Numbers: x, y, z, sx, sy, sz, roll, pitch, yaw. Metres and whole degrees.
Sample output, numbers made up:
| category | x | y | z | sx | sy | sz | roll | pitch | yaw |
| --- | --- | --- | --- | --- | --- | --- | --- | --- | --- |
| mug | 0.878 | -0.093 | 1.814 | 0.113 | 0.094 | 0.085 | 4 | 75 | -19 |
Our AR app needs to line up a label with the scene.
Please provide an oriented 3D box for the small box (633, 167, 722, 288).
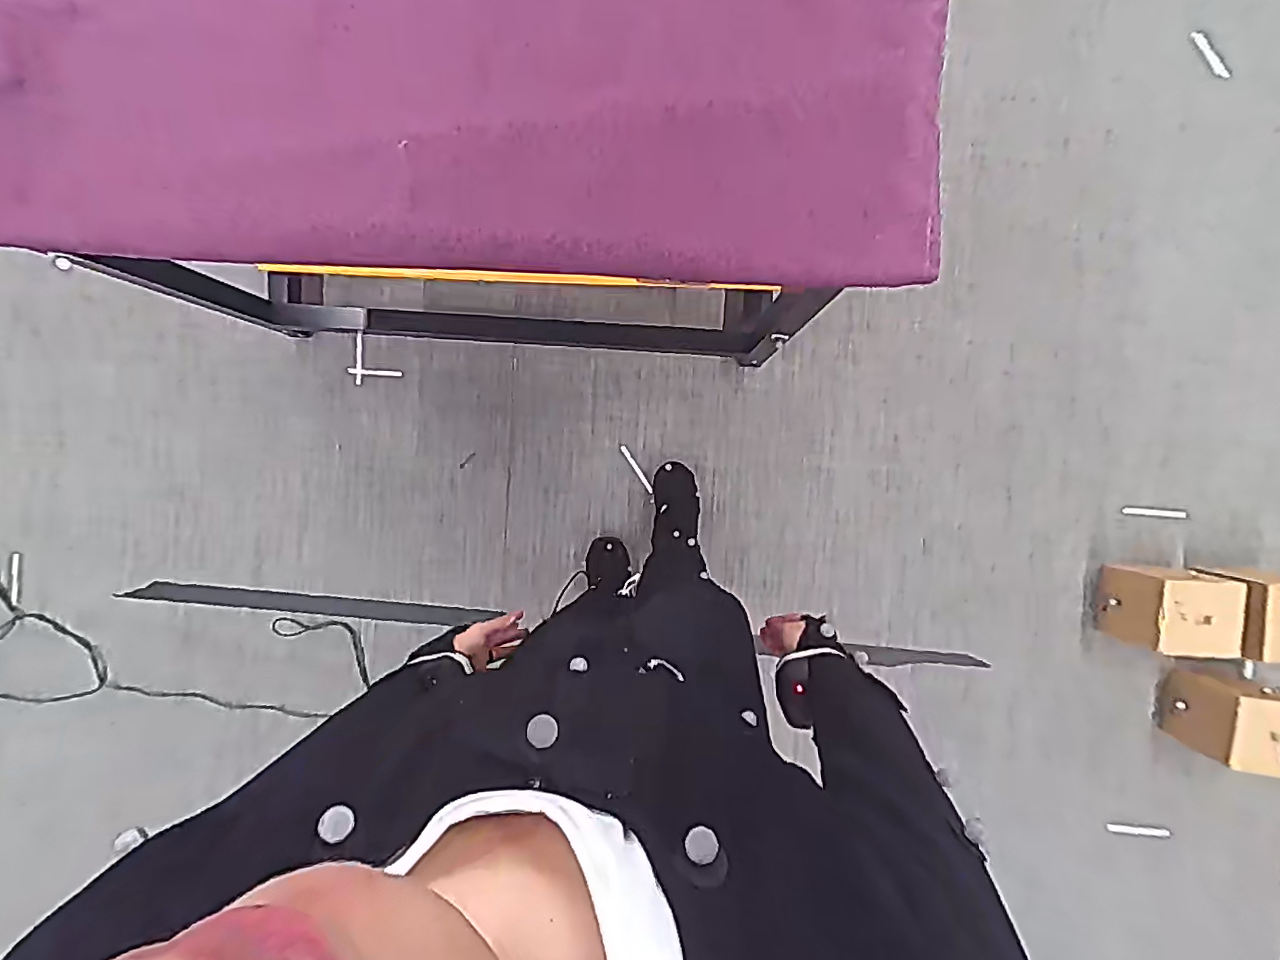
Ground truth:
| category | x | y | z | sx | sy | sz | roll | pitch | yaw |
| --- | --- | --- | --- | --- | --- | --- | --- | --- | --- |
| small box | 0.074 | -0.518 | 1.126 | 0.168 | 0.176 | 0.179 | 3 | 94 | 2 |

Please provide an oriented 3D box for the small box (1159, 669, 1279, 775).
| category | x | y | z | sx | sy | sz | roll | pitch | yaw |
| --- | --- | --- | --- | --- | --- | --- | --- | --- | --- |
| small box | 1.378 | 0.554 | 1.253 | 0.179 | 0.176 | 0.168 | 6 | 93 | 2 |

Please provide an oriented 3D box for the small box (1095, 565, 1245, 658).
| category | x | y | z | sx | sy | sz | roll | pitch | yaw |
| --- | --- | --- | --- | --- | --- | --- | --- | --- | --- |
| small box | 1.210 | 0.296 | 1.245 | 0.179 | 0.176 | 0.168 | 3 | 92 | 1 |
